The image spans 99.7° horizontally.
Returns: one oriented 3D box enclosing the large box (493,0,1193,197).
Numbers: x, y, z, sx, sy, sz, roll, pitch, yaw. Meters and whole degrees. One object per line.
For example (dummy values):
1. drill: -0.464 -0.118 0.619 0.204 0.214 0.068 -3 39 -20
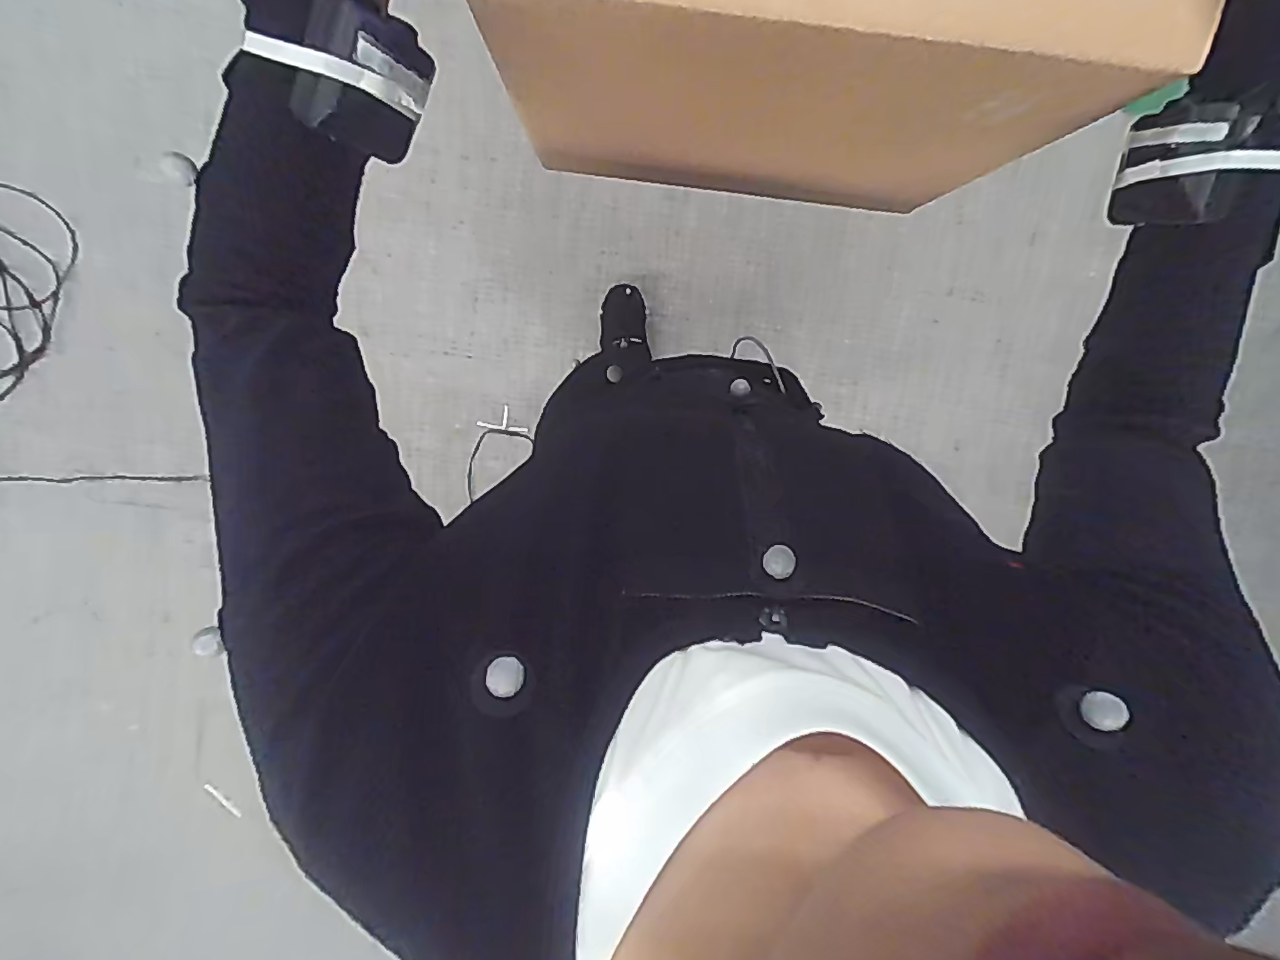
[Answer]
1. large box: 0.113 -0.435 0.407 0.408 0.320 0.320 4 104 -4
